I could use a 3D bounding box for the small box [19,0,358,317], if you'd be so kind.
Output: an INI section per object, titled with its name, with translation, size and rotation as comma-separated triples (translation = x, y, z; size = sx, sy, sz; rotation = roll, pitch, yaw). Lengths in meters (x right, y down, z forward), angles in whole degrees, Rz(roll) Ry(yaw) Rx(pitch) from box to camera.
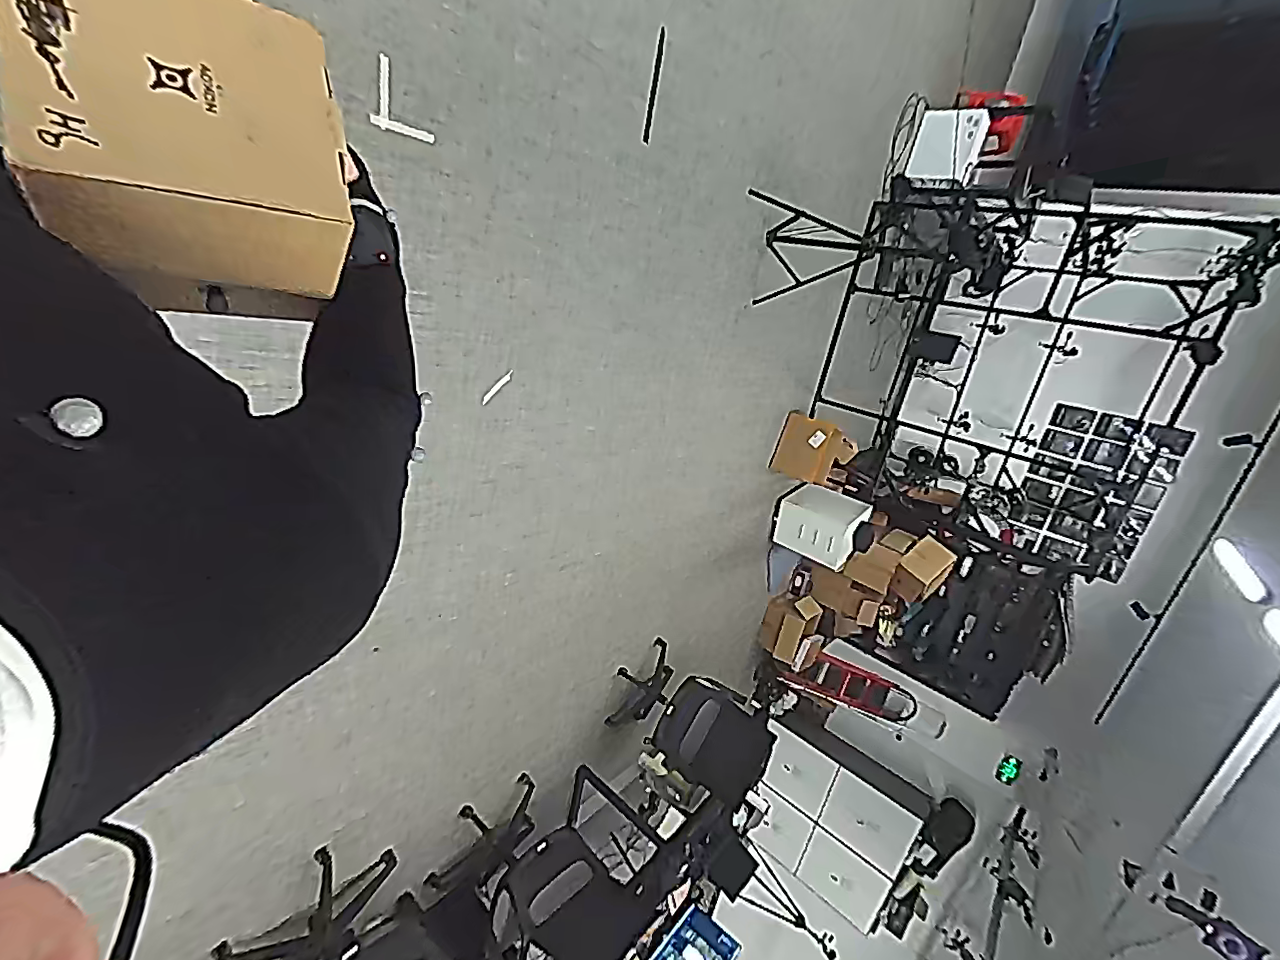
[small box]
translation = -0.351, -0.248, 0.440
size = 0.179, 0.176, 0.168
rotation = -7, 81, -38
